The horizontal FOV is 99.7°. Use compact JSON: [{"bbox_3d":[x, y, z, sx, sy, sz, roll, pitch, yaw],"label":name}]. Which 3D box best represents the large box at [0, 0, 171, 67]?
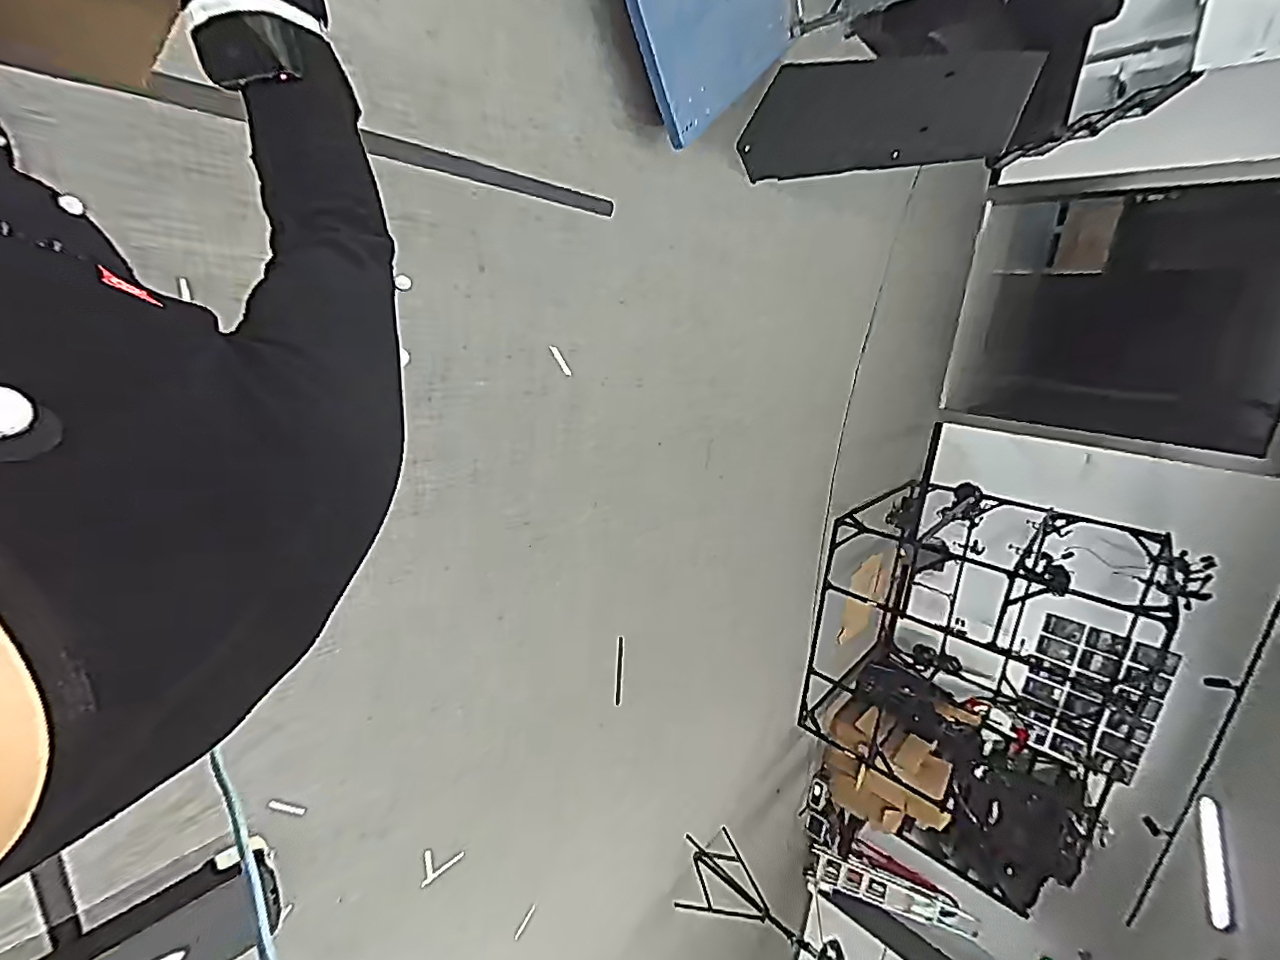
[{"bbox_3d":[-0.508,-0.481,0.254,0.408,0.320,0.320,-13,113,-46],"label":"large box"}]
